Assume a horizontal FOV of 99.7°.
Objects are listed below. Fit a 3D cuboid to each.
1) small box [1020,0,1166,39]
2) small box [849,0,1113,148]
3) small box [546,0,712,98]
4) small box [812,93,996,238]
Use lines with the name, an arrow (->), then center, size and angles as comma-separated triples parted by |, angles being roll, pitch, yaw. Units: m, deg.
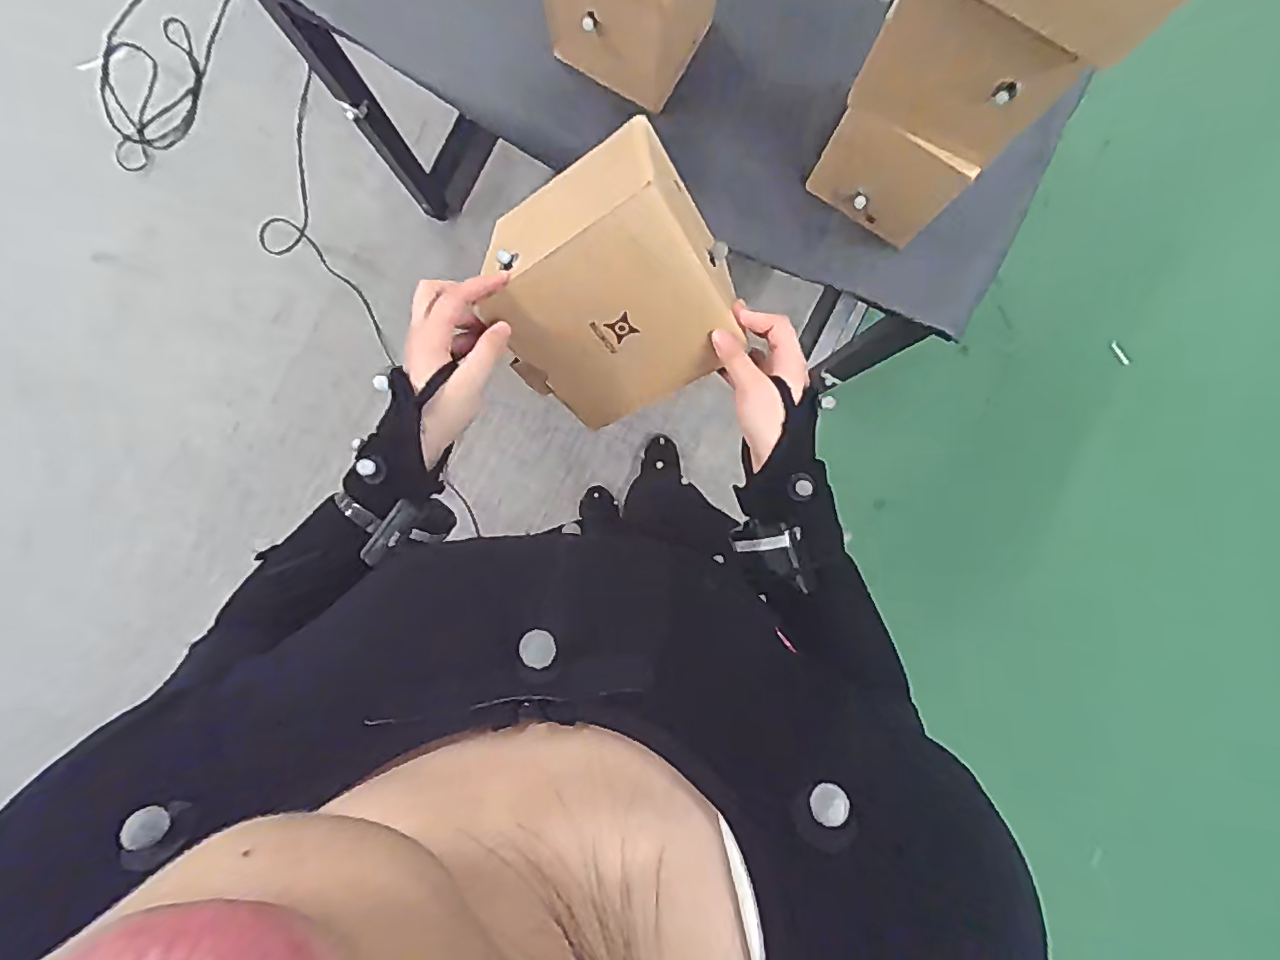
small box -> 0.341, -0.447, 0.350 | 0.179, 0.176, 0.168 | 30, 86, 1
small box -> 0.337, -0.463, 0.516 | 0.179, 0.176, 0.168 | 25, 86, 2
small box -> -0.013, -0.639, 0.683 | 0.179, 0.176, 0.168 | 30, 88, 1
small box -> 0.344, -0.450, 0.677 | 0.168, 0.176, 0.179 | 33, 88, 1
